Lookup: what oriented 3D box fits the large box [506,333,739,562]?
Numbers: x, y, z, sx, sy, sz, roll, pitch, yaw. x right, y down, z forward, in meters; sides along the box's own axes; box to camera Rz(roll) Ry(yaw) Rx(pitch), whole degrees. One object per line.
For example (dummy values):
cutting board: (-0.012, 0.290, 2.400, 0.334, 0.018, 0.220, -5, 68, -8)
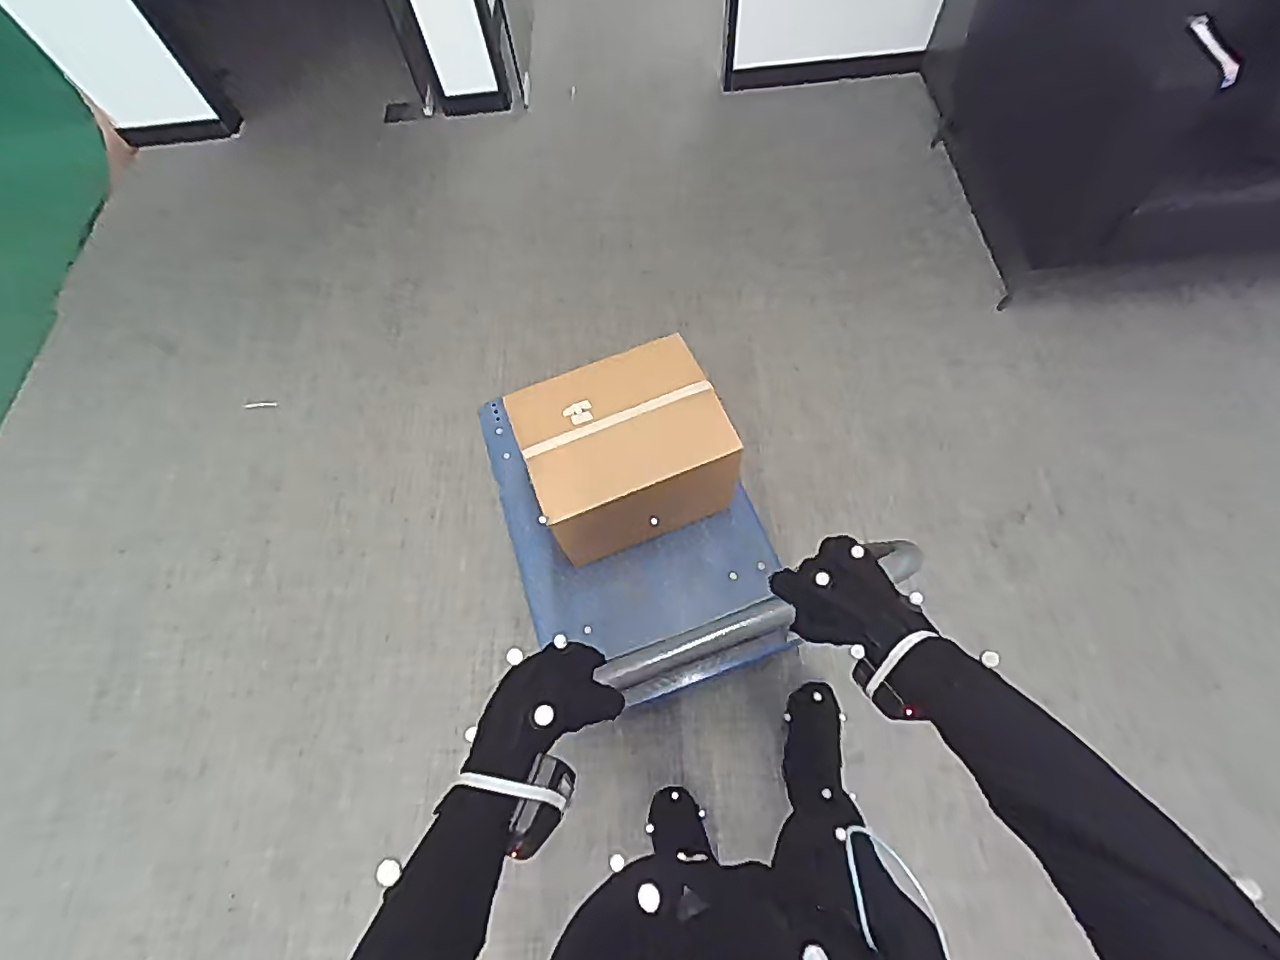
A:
large box: (-0.033, -0.060, 1.232, 0.408, 0.320, 0.320, -23, 66, -5)
